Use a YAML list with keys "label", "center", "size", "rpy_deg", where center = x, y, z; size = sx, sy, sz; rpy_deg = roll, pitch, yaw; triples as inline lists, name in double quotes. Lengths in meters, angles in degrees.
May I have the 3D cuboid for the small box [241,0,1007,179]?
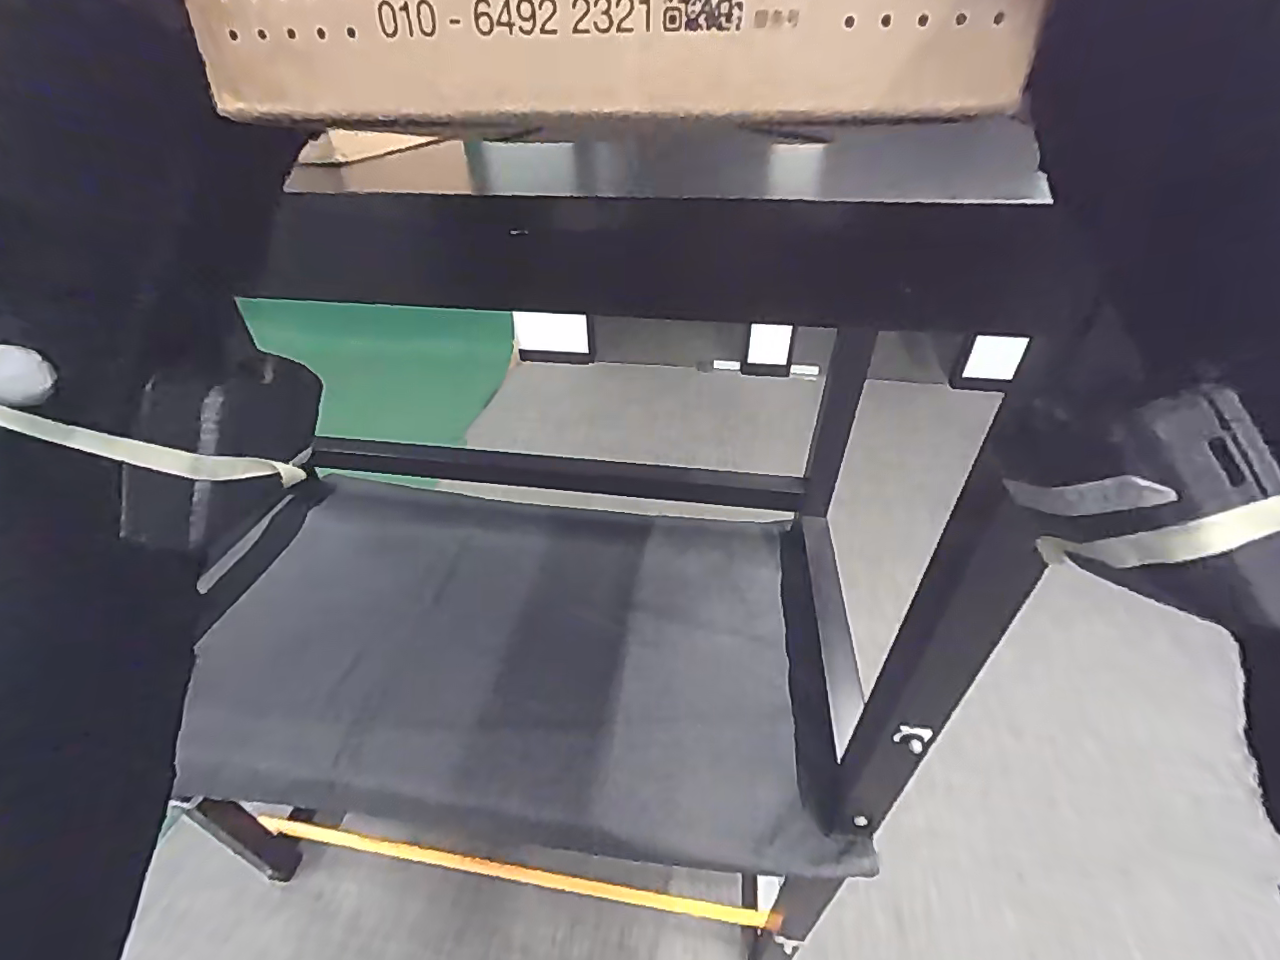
- label: "small box"
  center: [0.000, -0.182, 0.147]
  size: [0.168, 0.176, 0.179]
  rpy_deg: [4, 30, 5]
